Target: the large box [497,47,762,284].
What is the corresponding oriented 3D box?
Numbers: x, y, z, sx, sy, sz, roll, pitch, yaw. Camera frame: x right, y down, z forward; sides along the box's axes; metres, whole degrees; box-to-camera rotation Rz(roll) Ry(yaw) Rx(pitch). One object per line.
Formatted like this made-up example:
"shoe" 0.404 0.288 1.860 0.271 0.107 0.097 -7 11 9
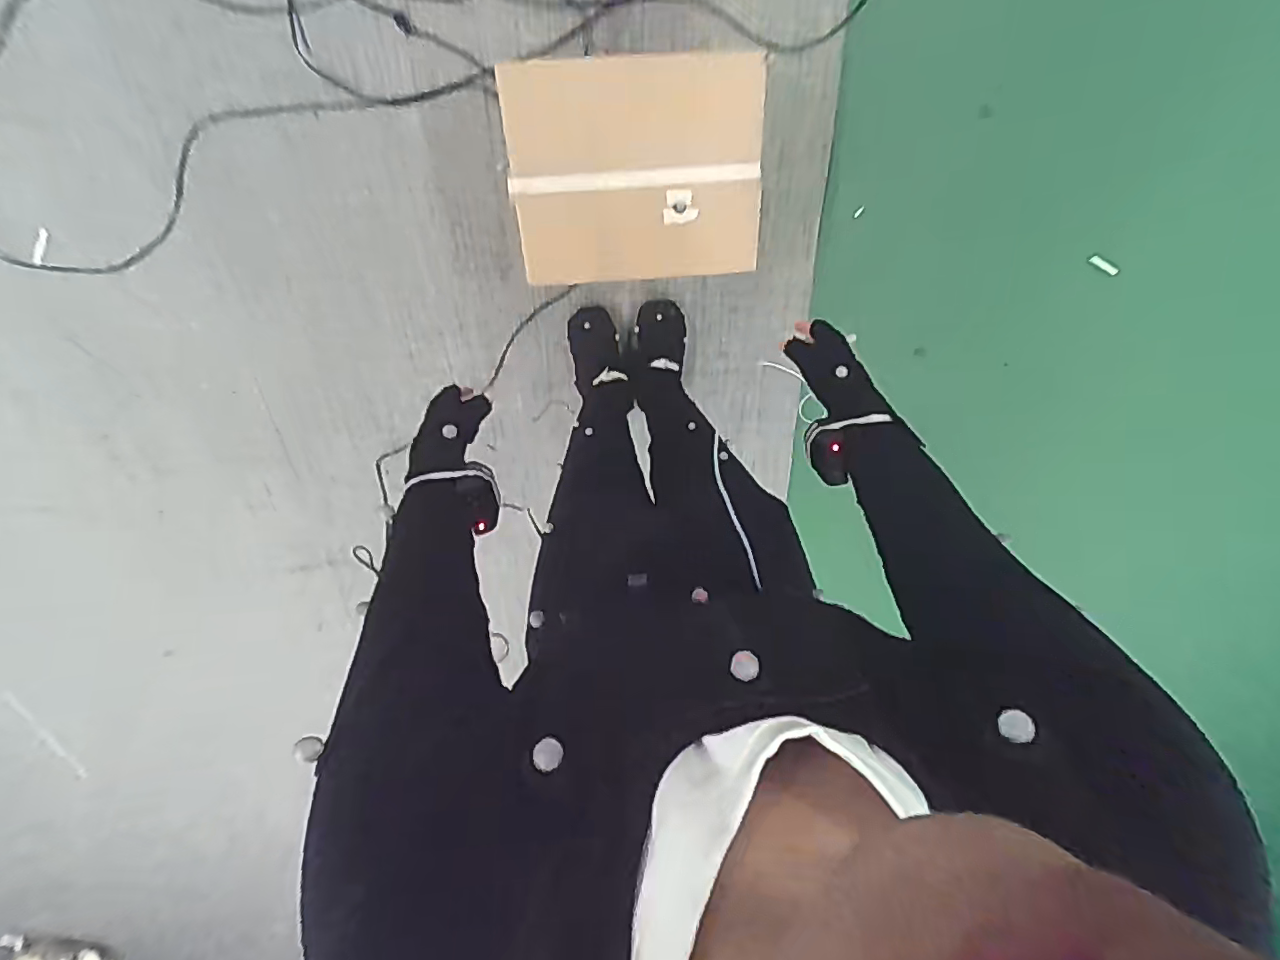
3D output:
"large box" -0.019 -0.566 1.001 0.408 0.320 0.320 -5 121 -3
